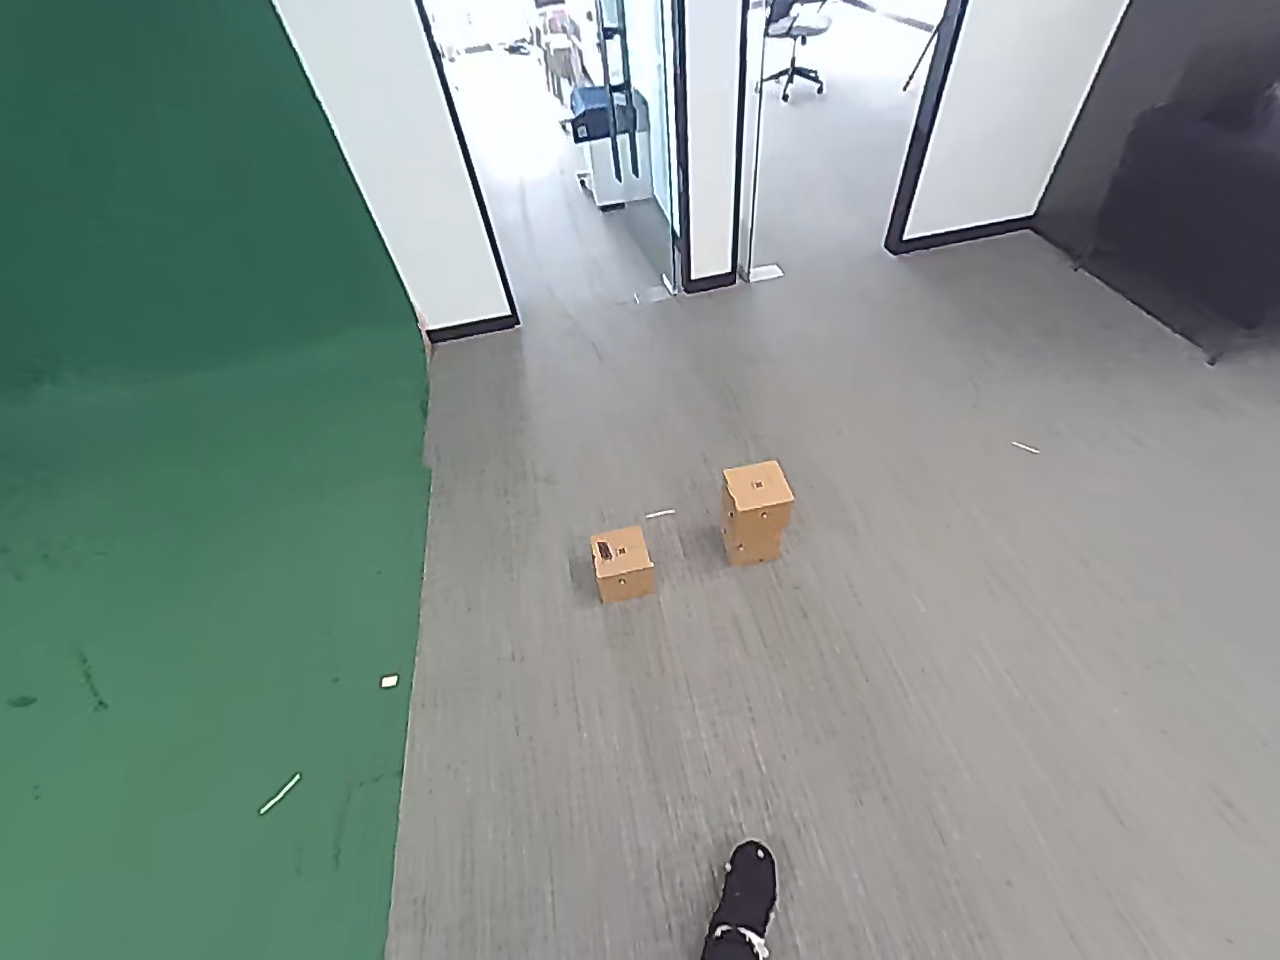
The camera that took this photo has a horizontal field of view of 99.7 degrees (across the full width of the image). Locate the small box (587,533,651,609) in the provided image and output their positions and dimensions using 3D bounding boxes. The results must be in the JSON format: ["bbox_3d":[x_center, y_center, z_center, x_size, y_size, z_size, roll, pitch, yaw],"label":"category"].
[{"bbox_3d":[-0.067,0.303,1.778,0.179,0.176,0.168,-11,49,-5],"label":"small box"}]

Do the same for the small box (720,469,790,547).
[{"bbox_3d":[0.353,0.093,1.699,0.179,0.176,0.168,-10,49,-4],"label":"small box"}]
